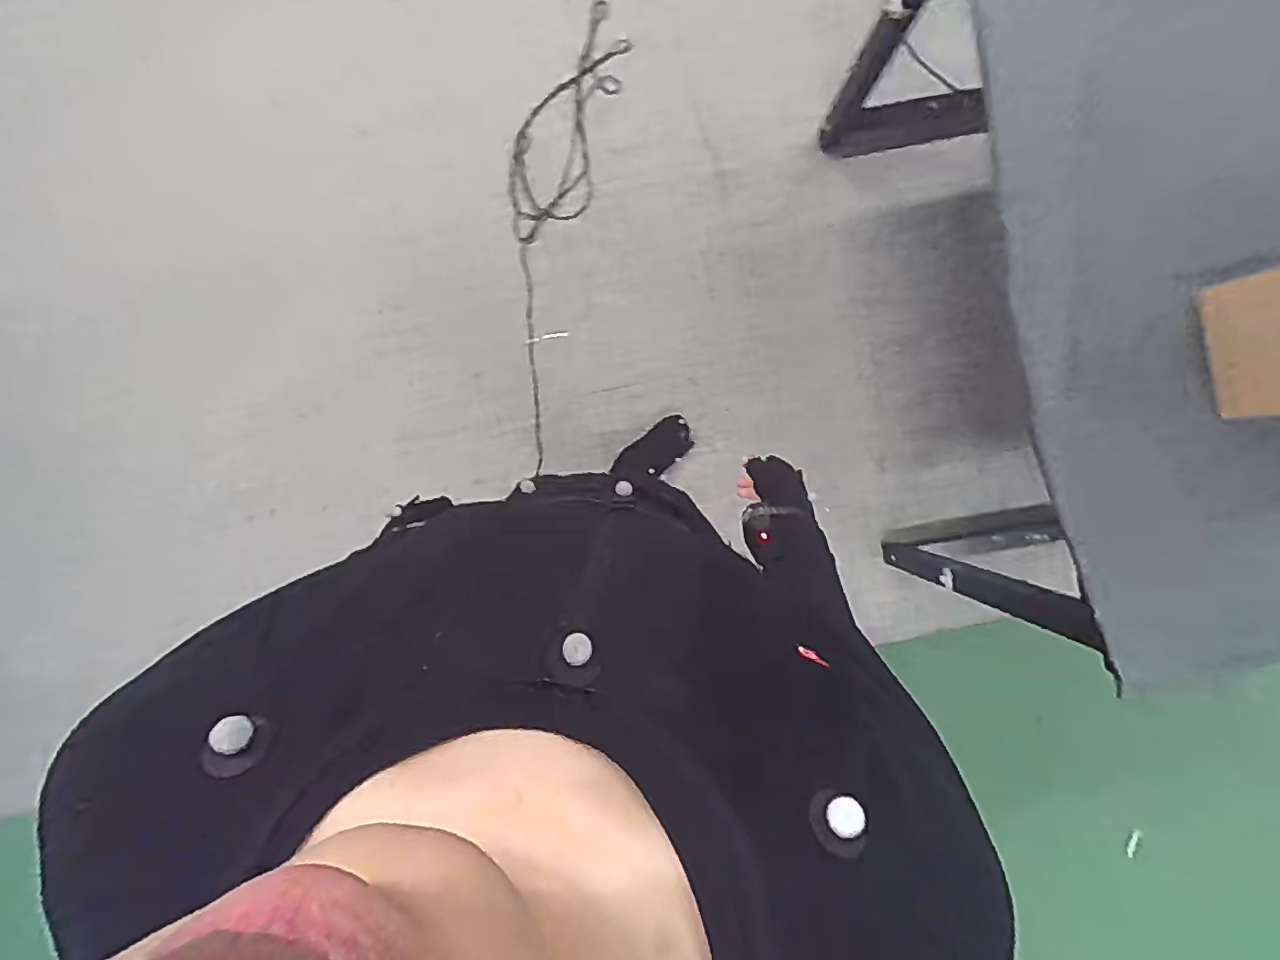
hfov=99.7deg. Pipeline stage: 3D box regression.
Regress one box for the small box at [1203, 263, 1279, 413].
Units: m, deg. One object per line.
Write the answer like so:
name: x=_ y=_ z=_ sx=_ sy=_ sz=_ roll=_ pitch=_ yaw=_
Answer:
small box: x=0.837 y=-0.186 z=0.643 sx=0.168 sy=0.176 sz=0.179 roll=-12 pitch=93 yaw=1
